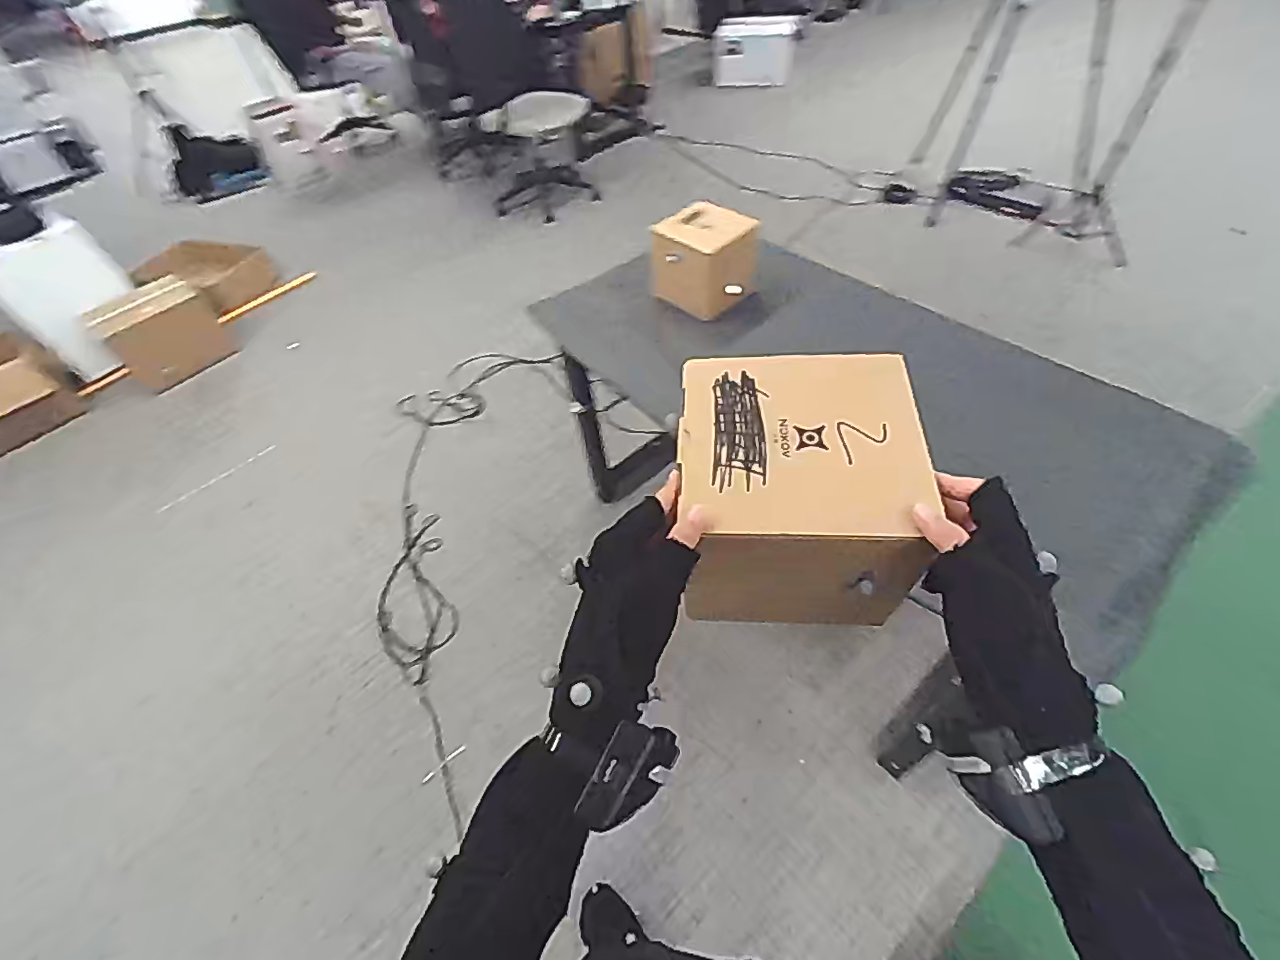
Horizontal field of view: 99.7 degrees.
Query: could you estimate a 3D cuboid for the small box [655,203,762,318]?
[{"bbox_3d":[0.154,-0.499,1.235,0.168,0.176,0.179,-39,57,-22],"label":"small box"}]
